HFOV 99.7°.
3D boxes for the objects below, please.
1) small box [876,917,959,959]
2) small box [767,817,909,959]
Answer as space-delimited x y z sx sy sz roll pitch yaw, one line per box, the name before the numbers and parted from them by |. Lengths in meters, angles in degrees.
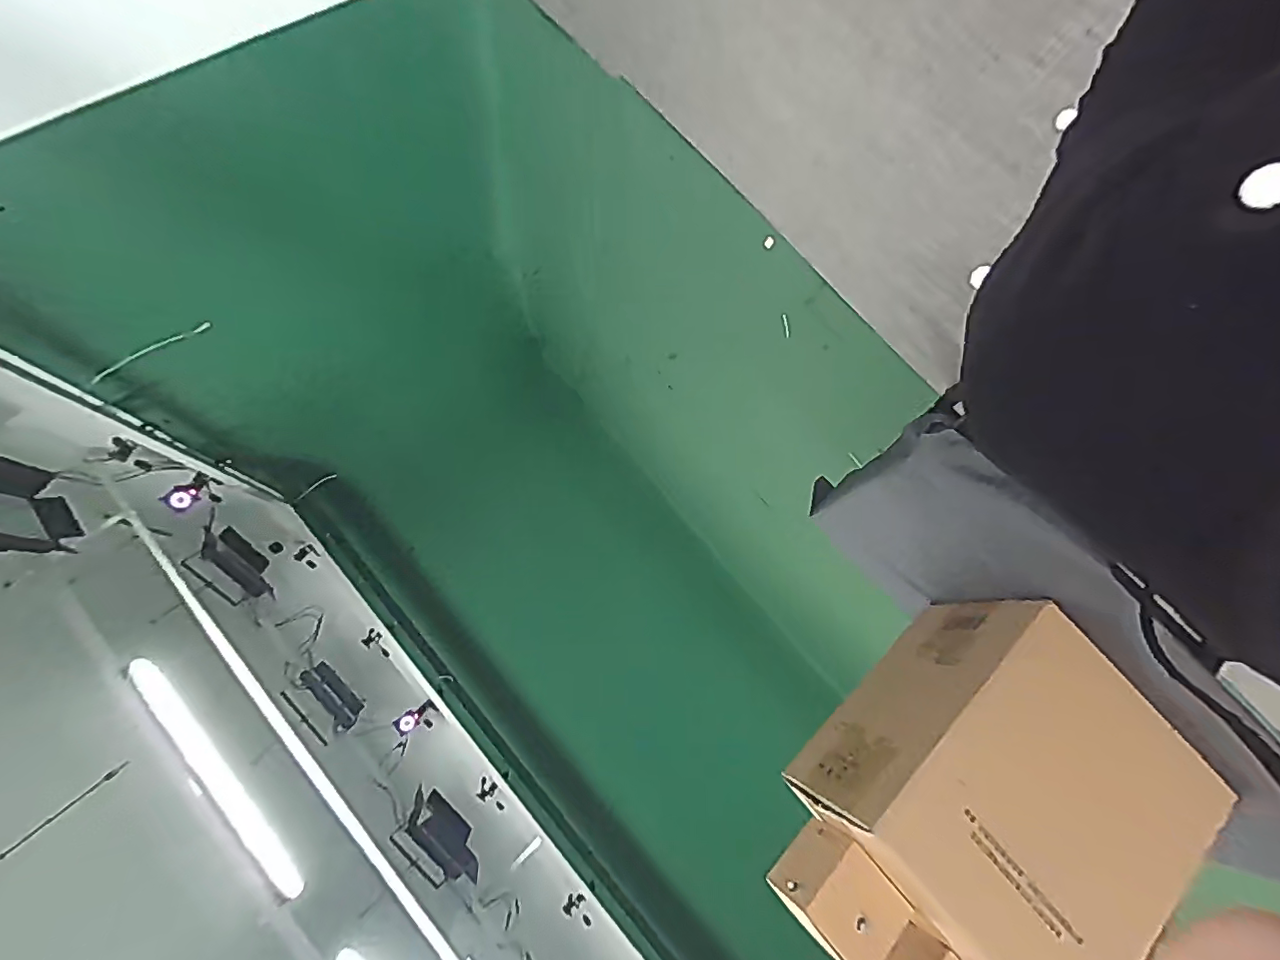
small box | 0.572 1.030 1.074 0.168 0.176 0.179 50 161 7
small box | 0.402 0.840 1.101 0.179 0.176 0.168 48 159 5
